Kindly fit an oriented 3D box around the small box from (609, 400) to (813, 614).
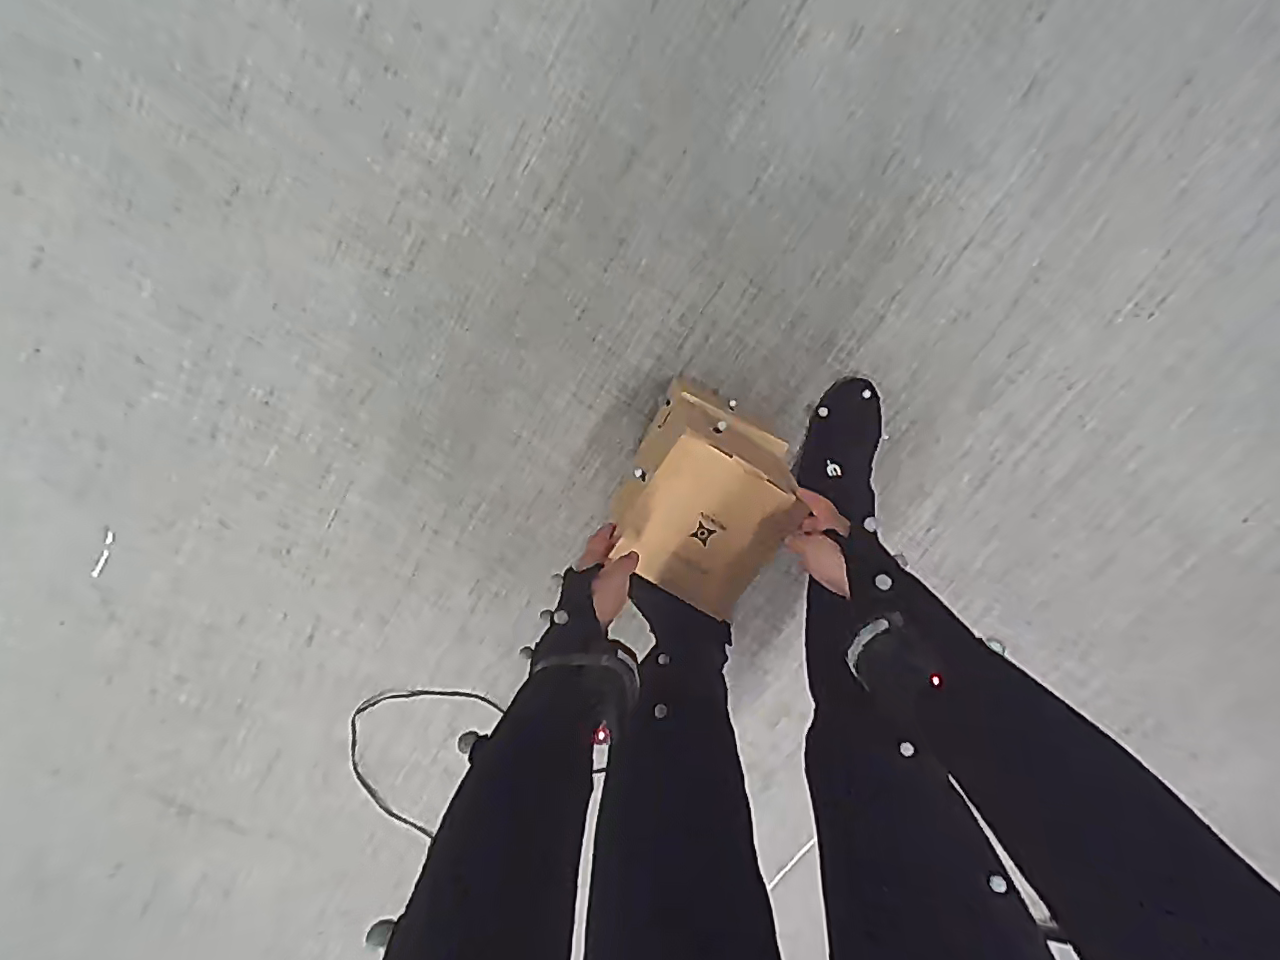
[{"bbox_3d":[0.080,0.022,0.672,0.168,0.176,0.179,32,109,-7],"label":"small box"}]
